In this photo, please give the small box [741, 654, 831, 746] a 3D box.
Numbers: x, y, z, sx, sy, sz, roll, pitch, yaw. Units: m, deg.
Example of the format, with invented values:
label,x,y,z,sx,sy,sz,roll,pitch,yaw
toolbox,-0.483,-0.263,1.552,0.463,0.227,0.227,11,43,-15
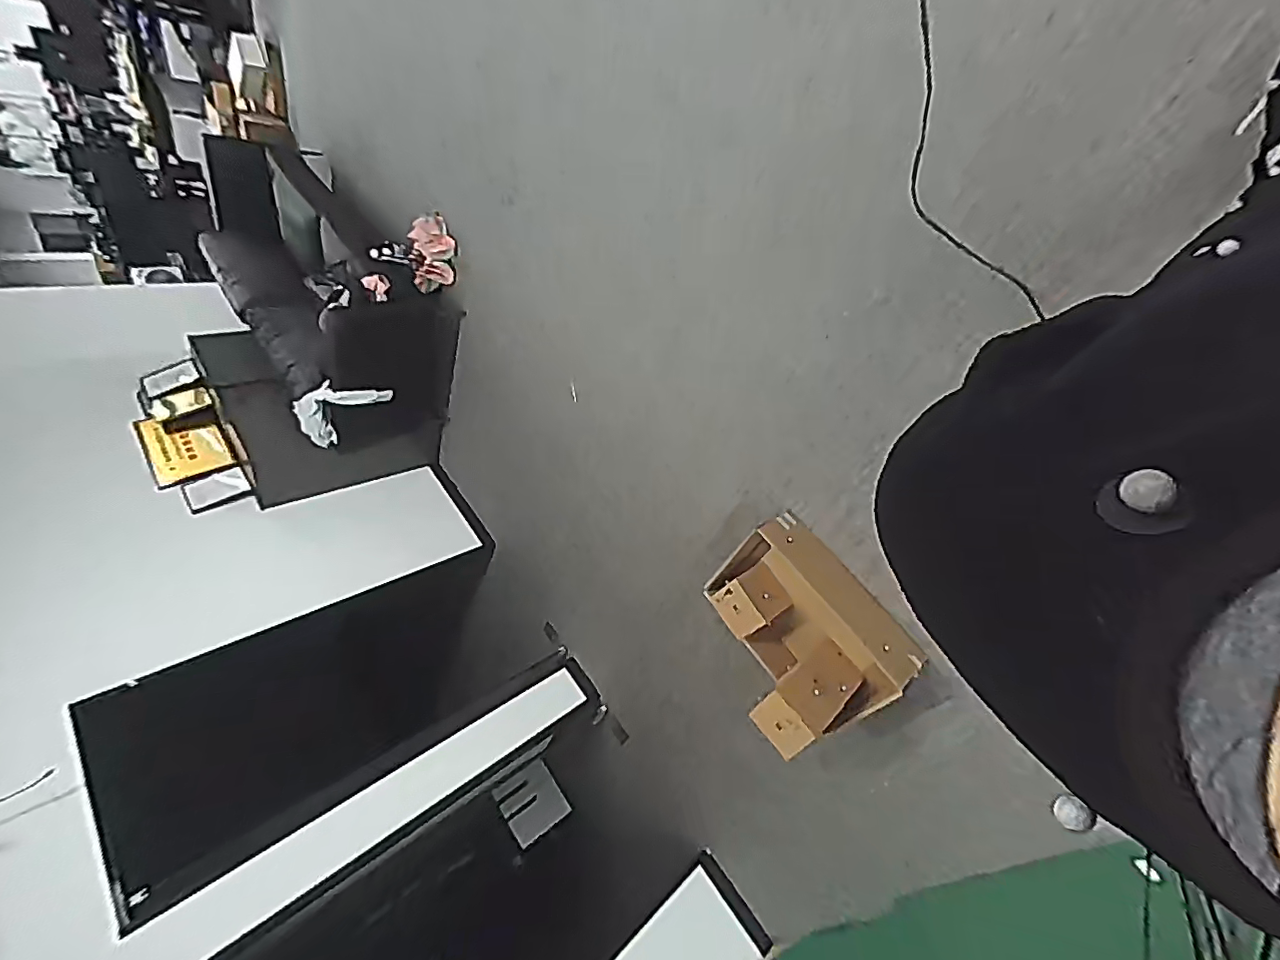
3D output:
label,x,y,z,sx,sy,sz,roll,pitch,yaw
small box,0.452,0.671,1.662,0.168,0.176,0.179,47,134,22
